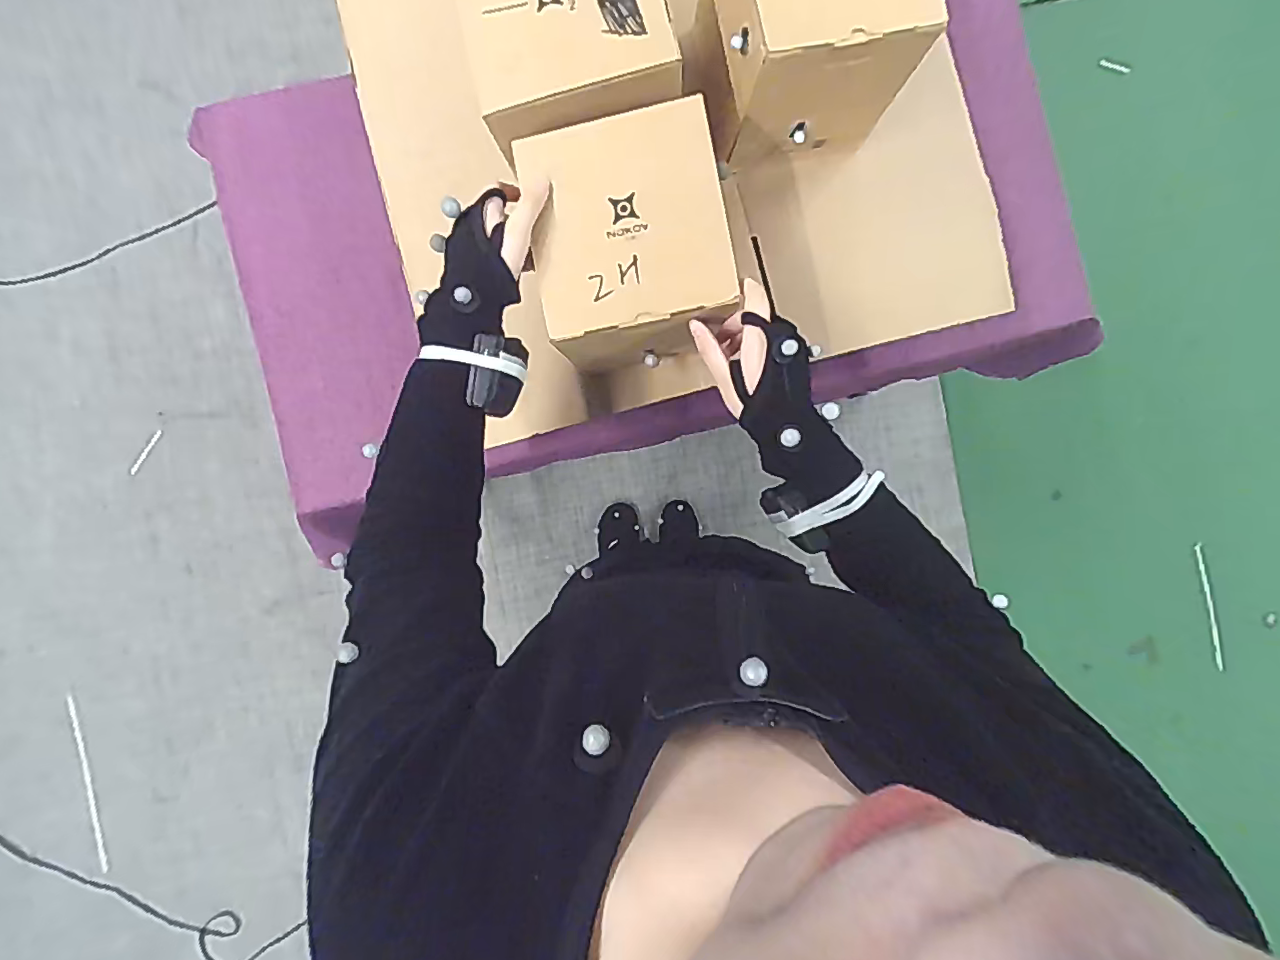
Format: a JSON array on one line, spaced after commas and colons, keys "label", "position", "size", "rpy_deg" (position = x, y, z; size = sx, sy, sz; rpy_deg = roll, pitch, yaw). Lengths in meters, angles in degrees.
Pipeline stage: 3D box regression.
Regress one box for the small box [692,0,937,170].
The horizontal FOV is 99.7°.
[{"label": "small box", "position": [0.158, -0.456, 0.547], "size": [0.168, 0.176, 0.179], "rpy_deg": [-13, 90, -4]}]
